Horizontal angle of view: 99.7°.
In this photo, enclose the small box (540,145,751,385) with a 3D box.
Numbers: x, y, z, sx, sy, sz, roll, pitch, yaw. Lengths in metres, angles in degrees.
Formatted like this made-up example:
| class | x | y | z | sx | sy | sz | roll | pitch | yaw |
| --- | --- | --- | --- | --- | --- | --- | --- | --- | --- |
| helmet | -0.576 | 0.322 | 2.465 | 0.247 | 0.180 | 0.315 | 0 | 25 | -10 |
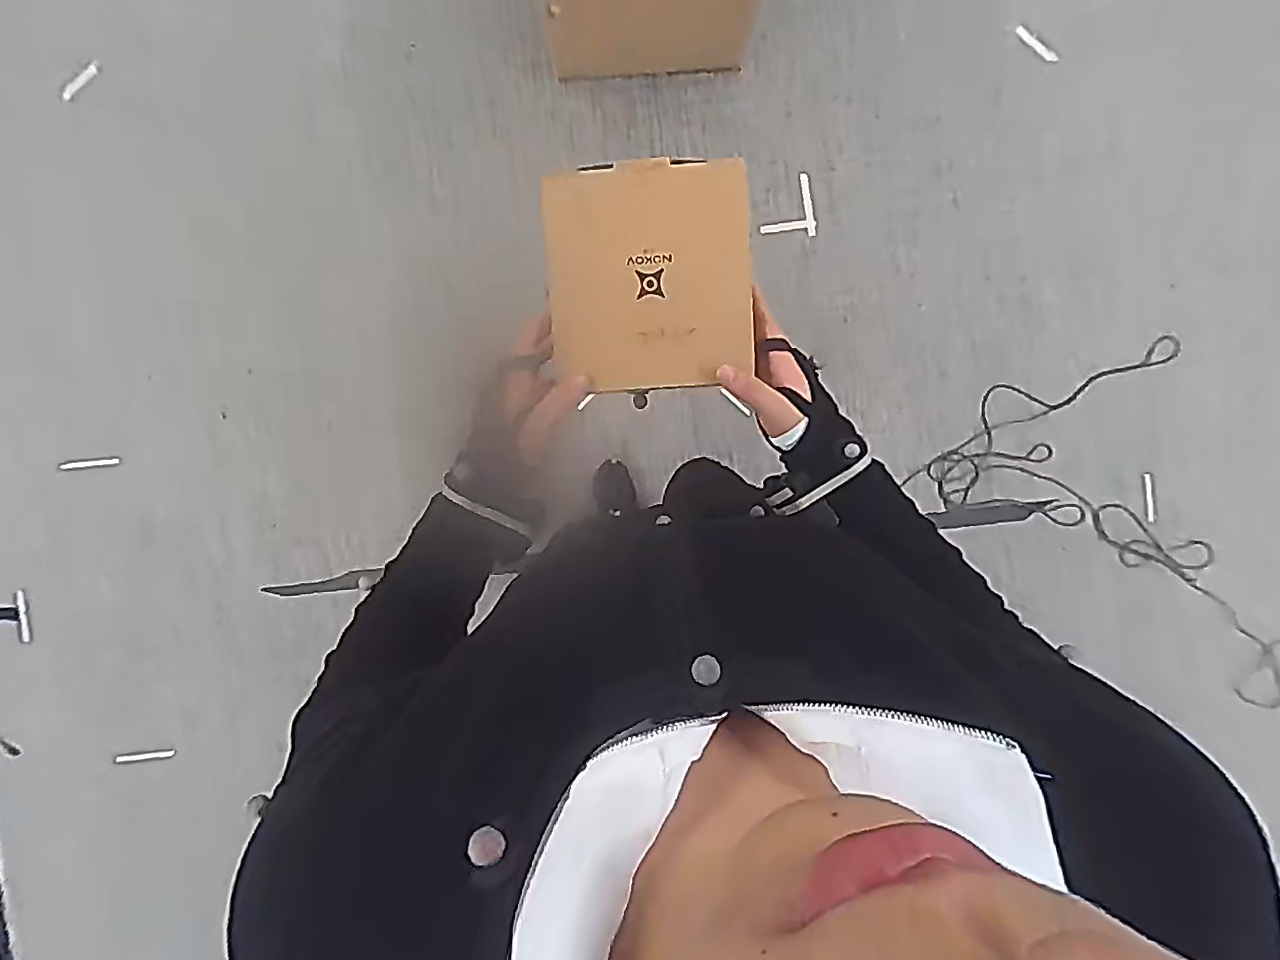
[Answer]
| class | x | y | z | sx | sy | sz | roll | pitch | yaw |
| --- | --- | --- | --- | --- | --- | --- | --- | --- | --- |
| small box | 0.005 | -0.184 | 0.513 | 0.168 | 0.176 | 0.179 | -3 | 99 | 0 |
